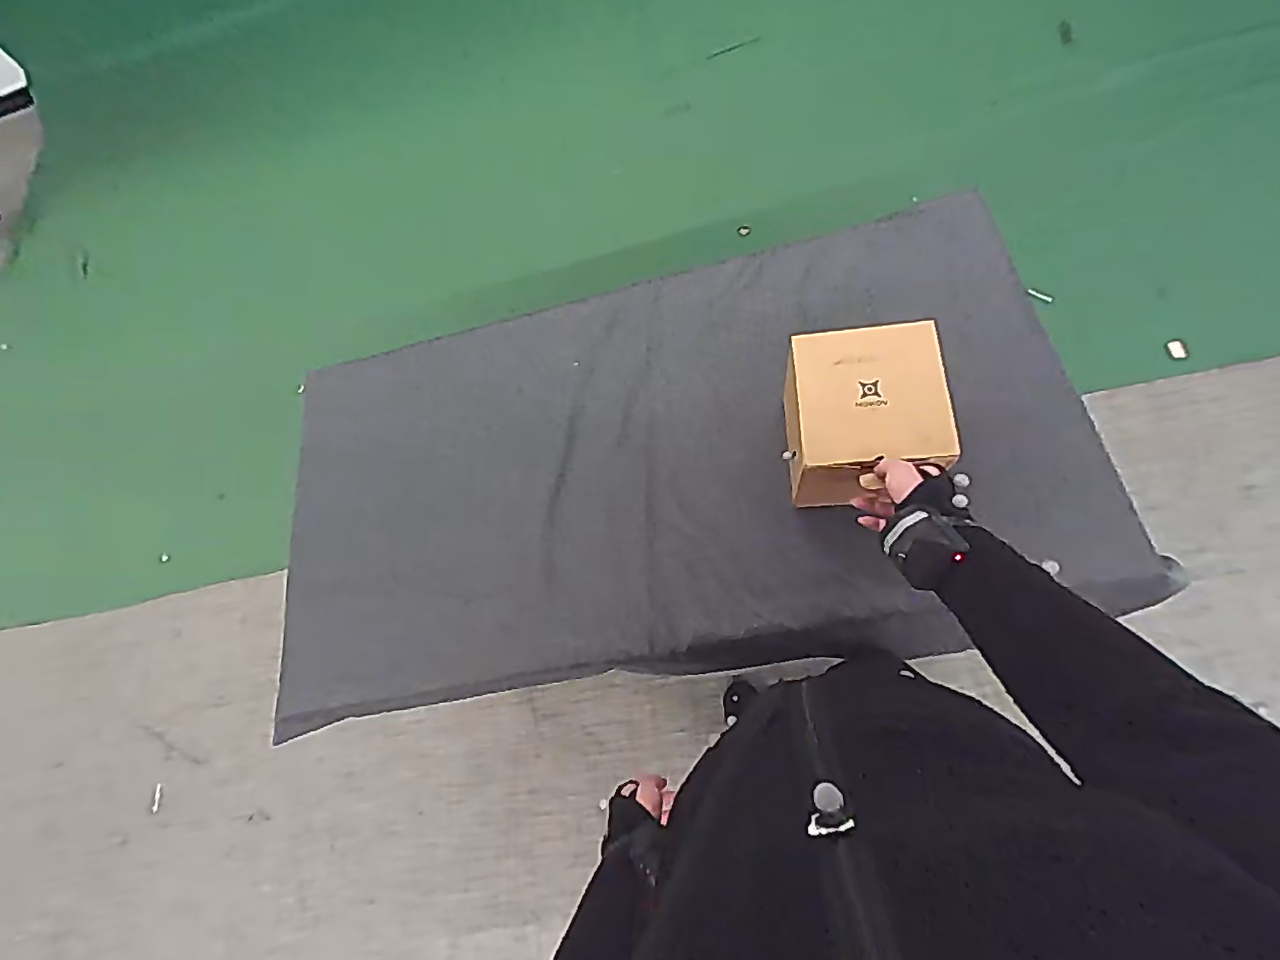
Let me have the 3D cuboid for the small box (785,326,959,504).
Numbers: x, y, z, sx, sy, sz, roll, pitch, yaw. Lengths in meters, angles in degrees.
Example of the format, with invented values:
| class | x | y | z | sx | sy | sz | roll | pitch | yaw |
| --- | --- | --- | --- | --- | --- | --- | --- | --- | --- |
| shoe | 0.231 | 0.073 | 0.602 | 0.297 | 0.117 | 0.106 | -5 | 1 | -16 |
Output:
| class | x | y | z | sx | sy | sz | roll | pitch | yaw |
| --- | --- | --- | --- | --- | --- | --- | --- | --- | --- |
| small box | 0.283 | -0.071 | 0.700 | 0.168 | 0.176 | 0.179 | -3 | 69 | 9 |
